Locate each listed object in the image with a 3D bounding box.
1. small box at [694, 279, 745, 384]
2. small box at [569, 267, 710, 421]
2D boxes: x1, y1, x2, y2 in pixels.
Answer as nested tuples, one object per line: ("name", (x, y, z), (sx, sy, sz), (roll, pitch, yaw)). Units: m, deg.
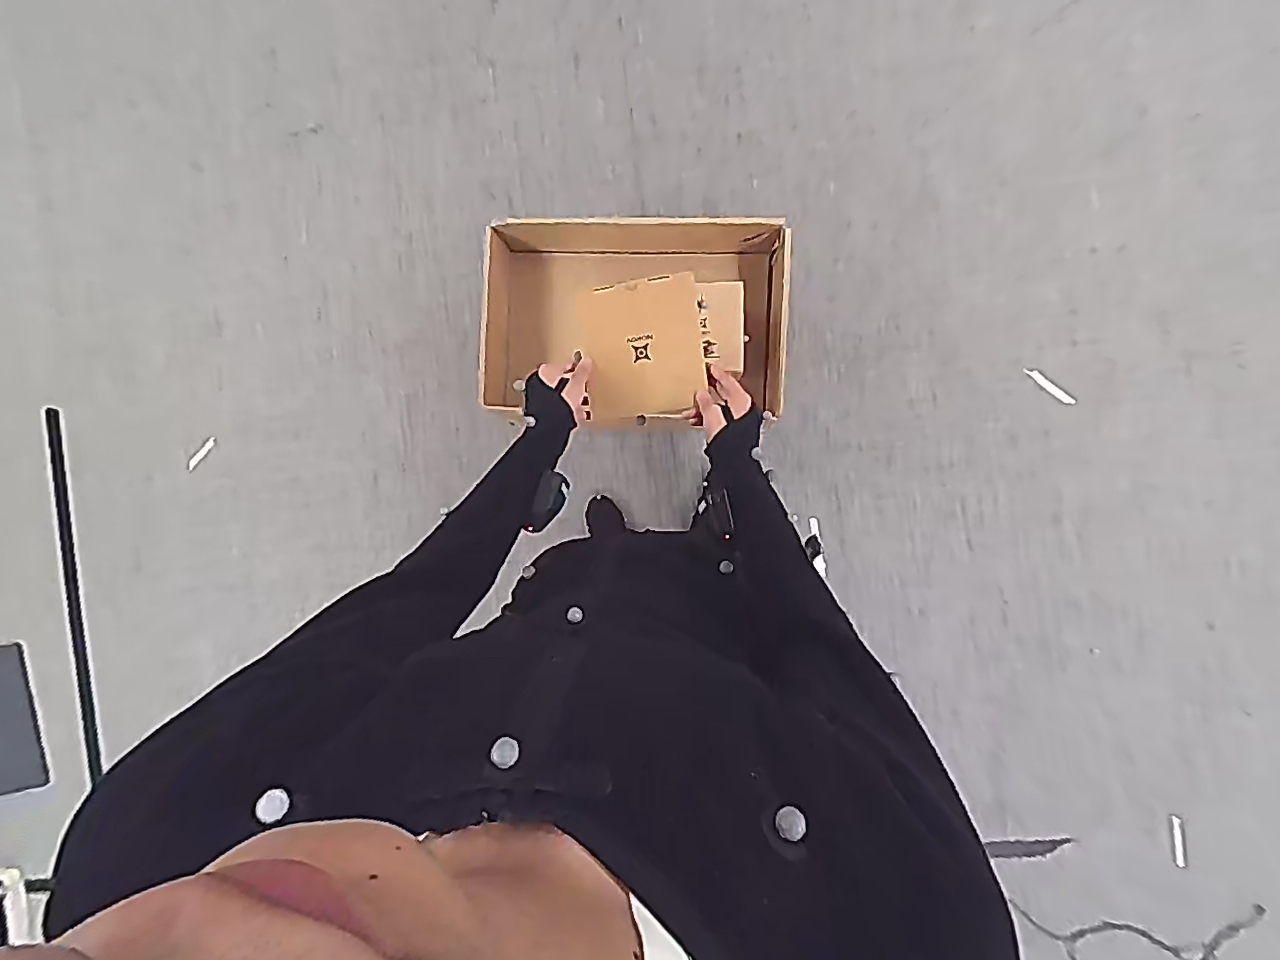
("small box", (0.124, -0.295, 1.106), (0.168, 0.176, 0.179), (0, 90, 5))
("small box", (0.010, -0.186, 0.782), (0.168, 0.176, 0.179), (-9, 97, 8))
